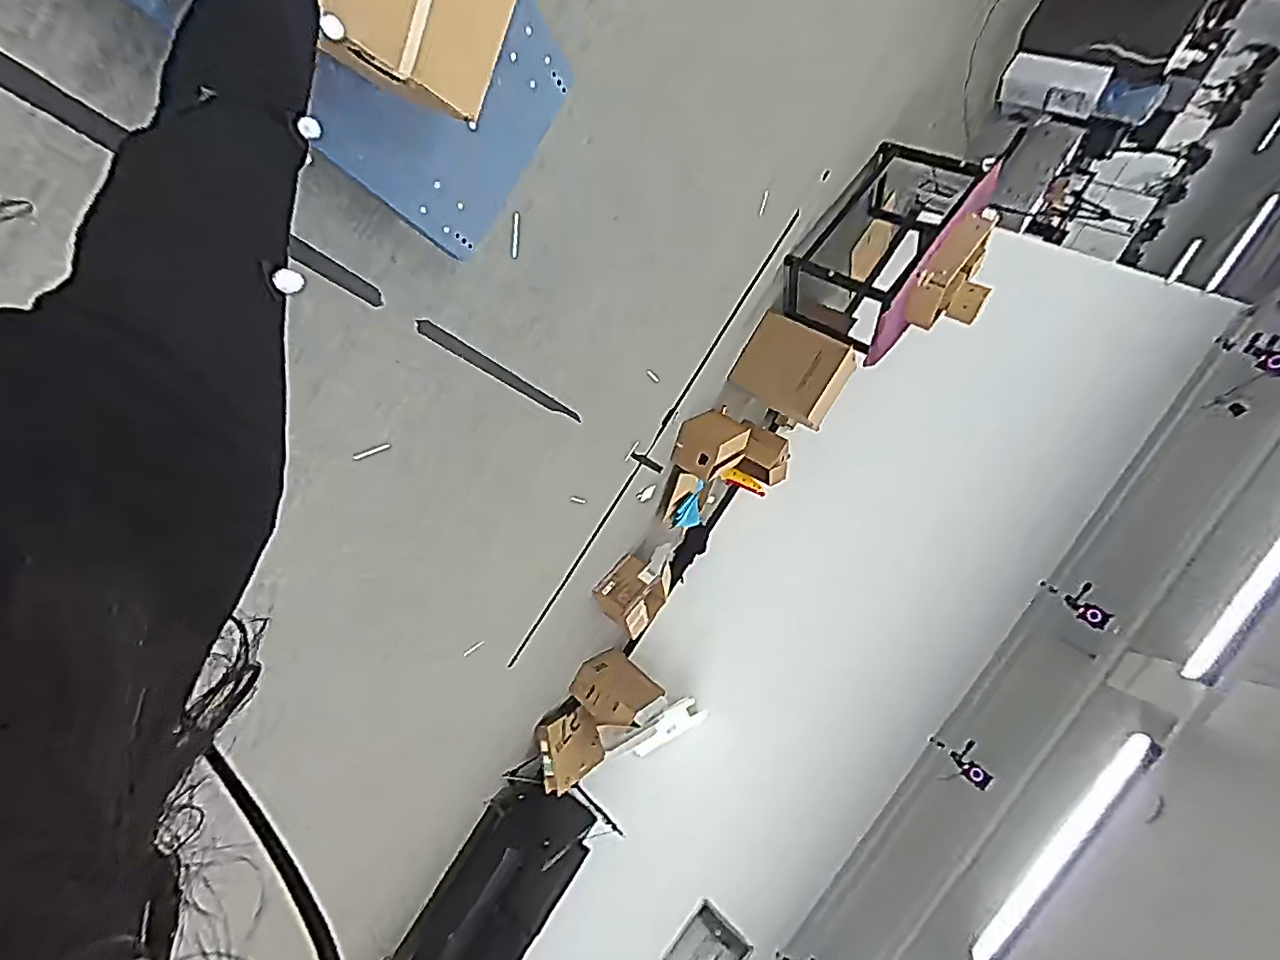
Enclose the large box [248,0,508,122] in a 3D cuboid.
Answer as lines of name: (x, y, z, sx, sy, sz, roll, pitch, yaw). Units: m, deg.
large box: (-0.423, -0.907, 0.878, 0.320, 0.320, 0.408, -3, 125, -59)
